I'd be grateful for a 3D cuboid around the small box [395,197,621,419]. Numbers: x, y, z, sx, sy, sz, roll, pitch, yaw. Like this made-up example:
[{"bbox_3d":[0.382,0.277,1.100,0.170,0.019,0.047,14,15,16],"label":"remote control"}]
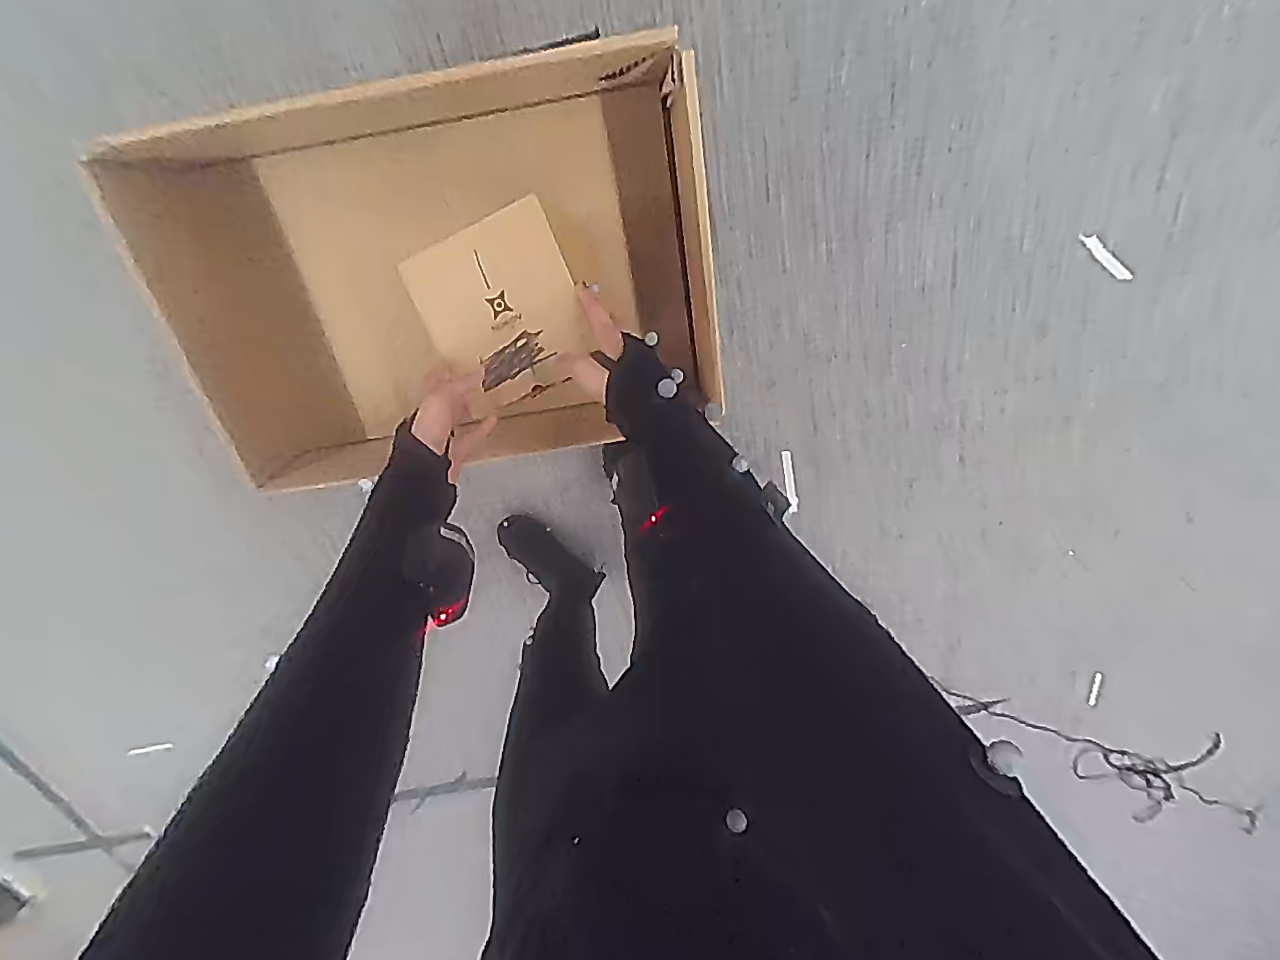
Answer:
[{"bbox_3d":[-0.134,-0.193,0.628,0.168,0.176,0.179,-21,104,13],"label":"small box"}]
